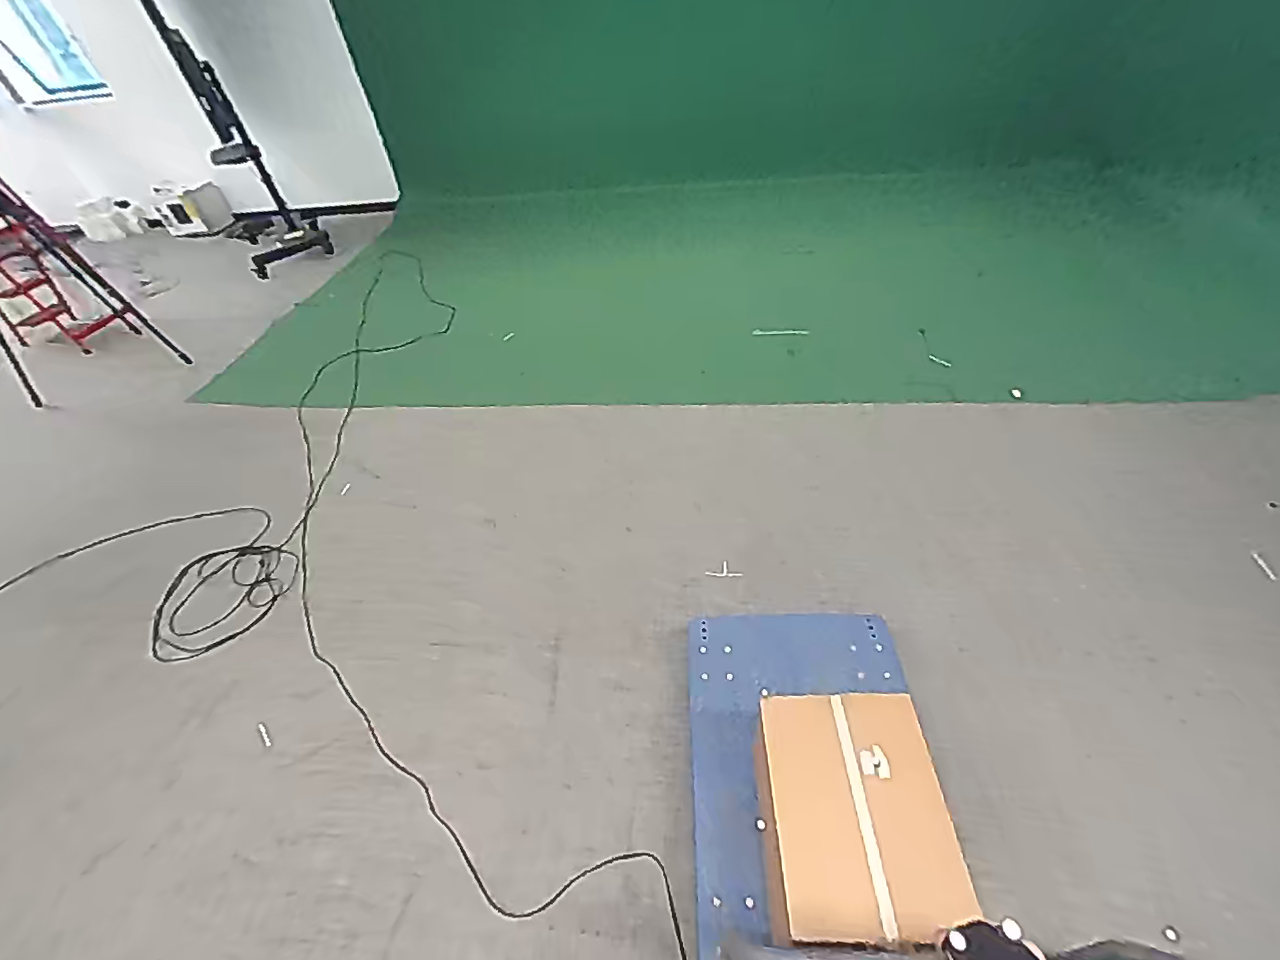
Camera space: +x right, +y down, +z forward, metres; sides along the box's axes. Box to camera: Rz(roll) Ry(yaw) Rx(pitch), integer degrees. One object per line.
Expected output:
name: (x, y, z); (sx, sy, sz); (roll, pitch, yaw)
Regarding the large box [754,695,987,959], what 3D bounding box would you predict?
large box: (0.419, 0.706, 1.108); (0.320, 0.320, 0.408); (-2, 44, 4)
